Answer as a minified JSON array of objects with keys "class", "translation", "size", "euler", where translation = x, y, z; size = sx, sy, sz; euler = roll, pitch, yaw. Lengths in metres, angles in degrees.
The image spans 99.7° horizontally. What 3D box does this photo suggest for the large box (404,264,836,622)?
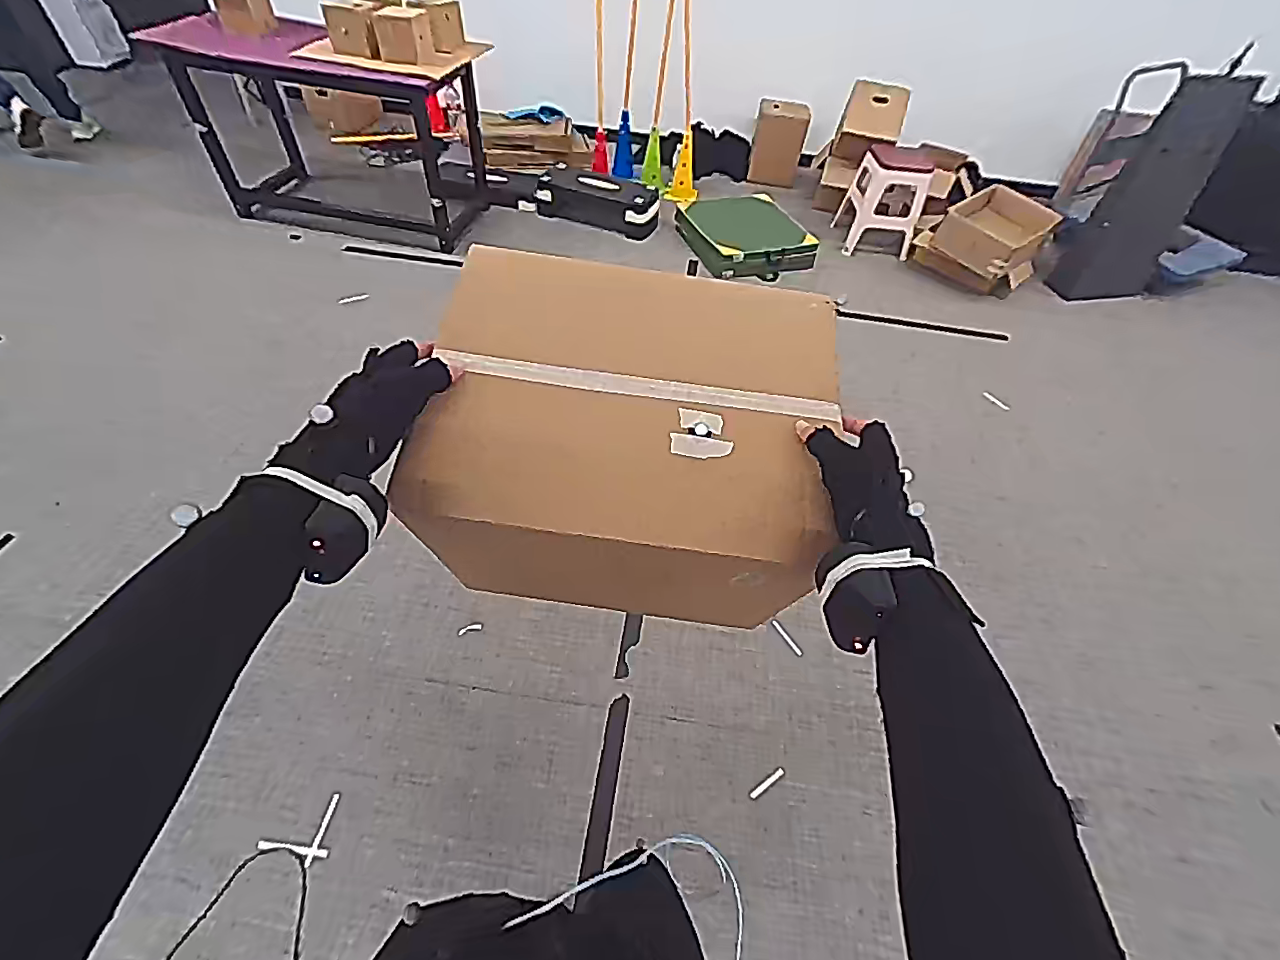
[{"class":"large box","translation":[-0.014,-0.022,0.685],"size":[0.408,0.320,0.320],"euler":[8,66,-1]}]
